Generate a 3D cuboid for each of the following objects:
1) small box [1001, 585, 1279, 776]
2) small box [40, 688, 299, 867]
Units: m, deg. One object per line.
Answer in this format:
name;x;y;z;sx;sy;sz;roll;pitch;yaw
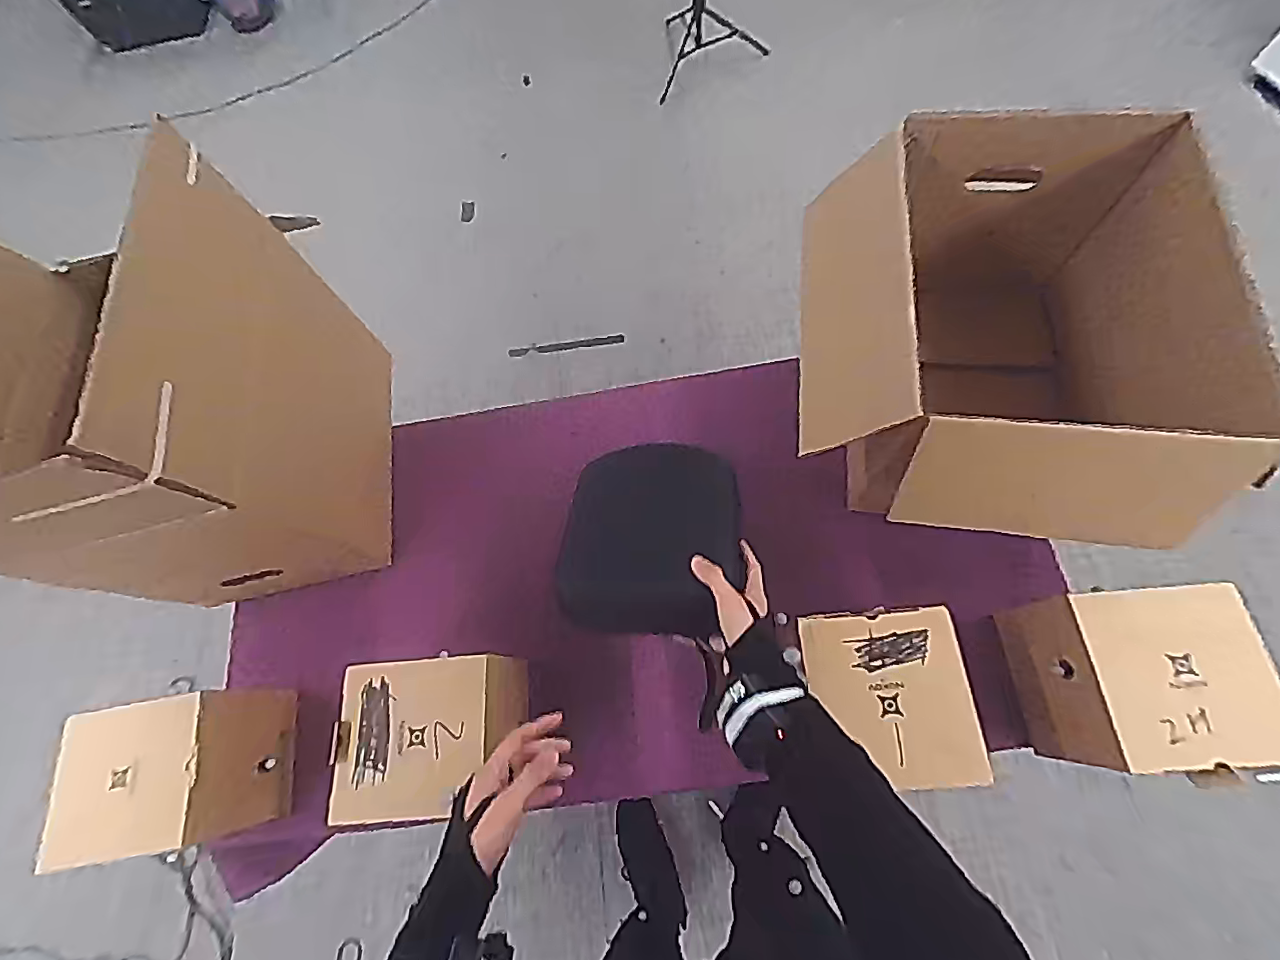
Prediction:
small box;0.550;0.225;0.611;0.168;0.176;0.179;-5;68;6
small box;-0.587;0.372;0.702;0.179;0.176;0.168;-11;68;2
